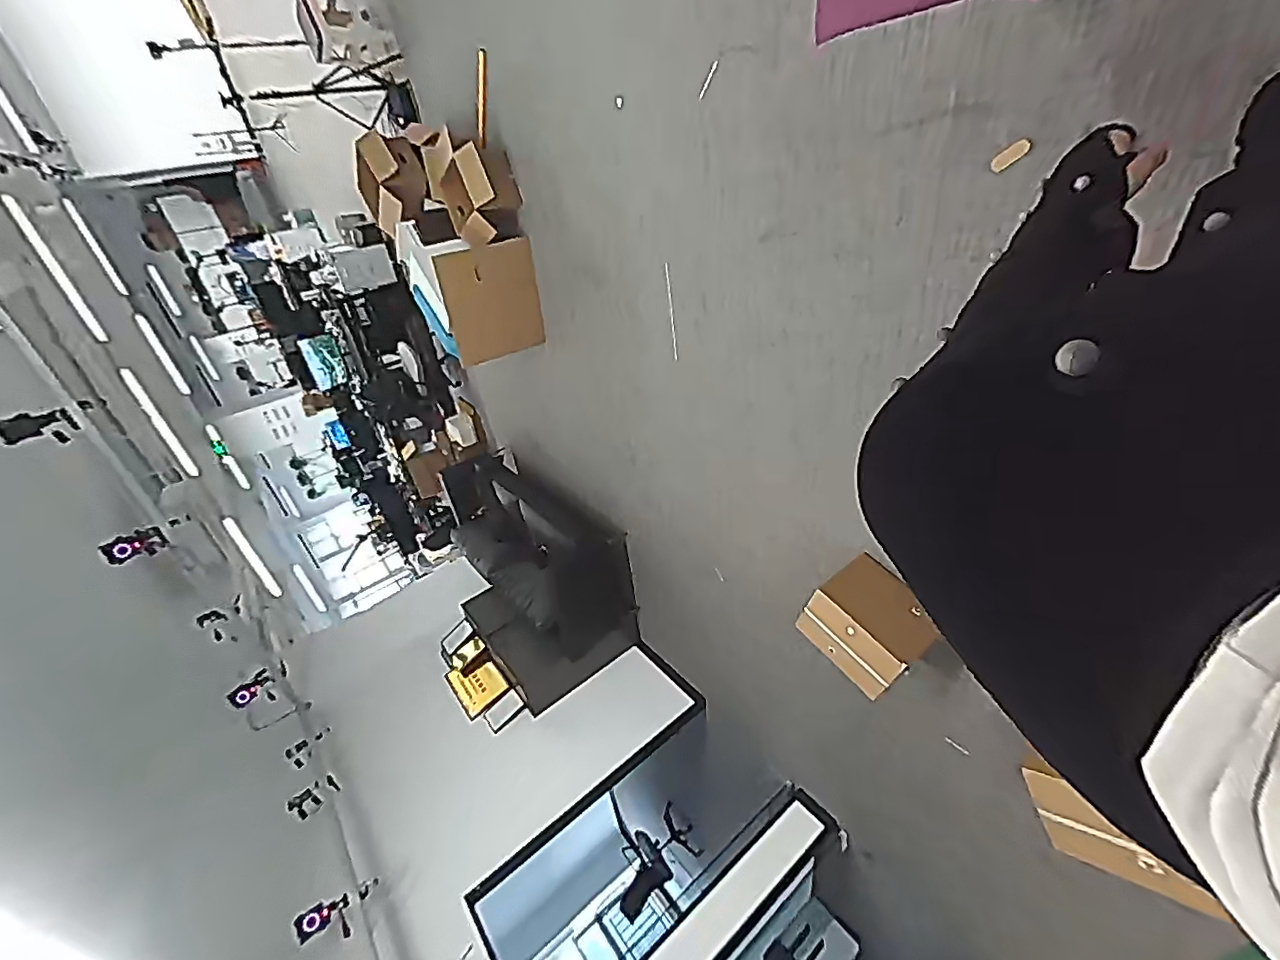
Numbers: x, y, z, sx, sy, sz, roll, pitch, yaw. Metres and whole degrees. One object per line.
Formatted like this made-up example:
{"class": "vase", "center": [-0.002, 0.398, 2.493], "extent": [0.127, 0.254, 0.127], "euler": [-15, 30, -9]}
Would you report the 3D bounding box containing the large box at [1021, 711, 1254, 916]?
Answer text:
{"class": "large box", "center": [1.462, 0.944, 1.607], "extent": [0.408, 0.320, 0.320], "euler": [-16, 101, 60]}
